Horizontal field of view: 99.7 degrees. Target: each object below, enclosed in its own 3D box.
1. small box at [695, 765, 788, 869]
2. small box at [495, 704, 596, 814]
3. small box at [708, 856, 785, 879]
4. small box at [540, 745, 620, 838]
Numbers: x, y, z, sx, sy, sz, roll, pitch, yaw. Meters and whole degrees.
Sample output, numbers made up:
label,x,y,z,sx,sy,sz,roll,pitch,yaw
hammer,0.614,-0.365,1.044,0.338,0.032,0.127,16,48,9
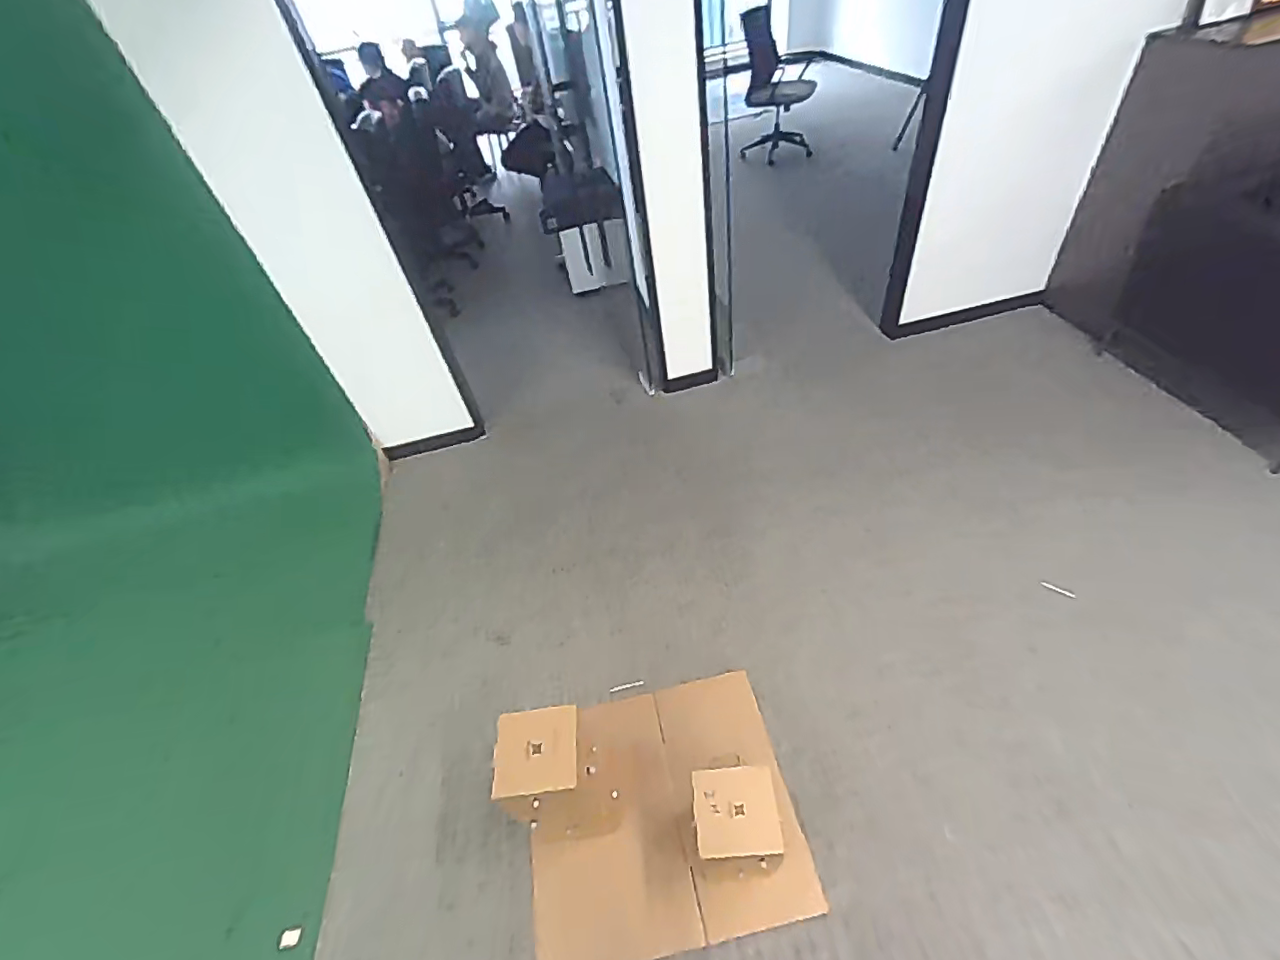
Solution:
label,x,y,z,sx,sy,sz,roll,pitch,yaw
small box,0.221,0.749,1.199,0.179,0.176,0.168,-7,45,6
small box,-0.198,0.614,1.184,0.179,0.176,0.168,-8,46,3
small box,0.244,0.856,1.323,0.179,0.176,0.168,-10,45,3
small box,-0.156,0.827,1.429,0.179,0.176,0.168,-10,46,1
